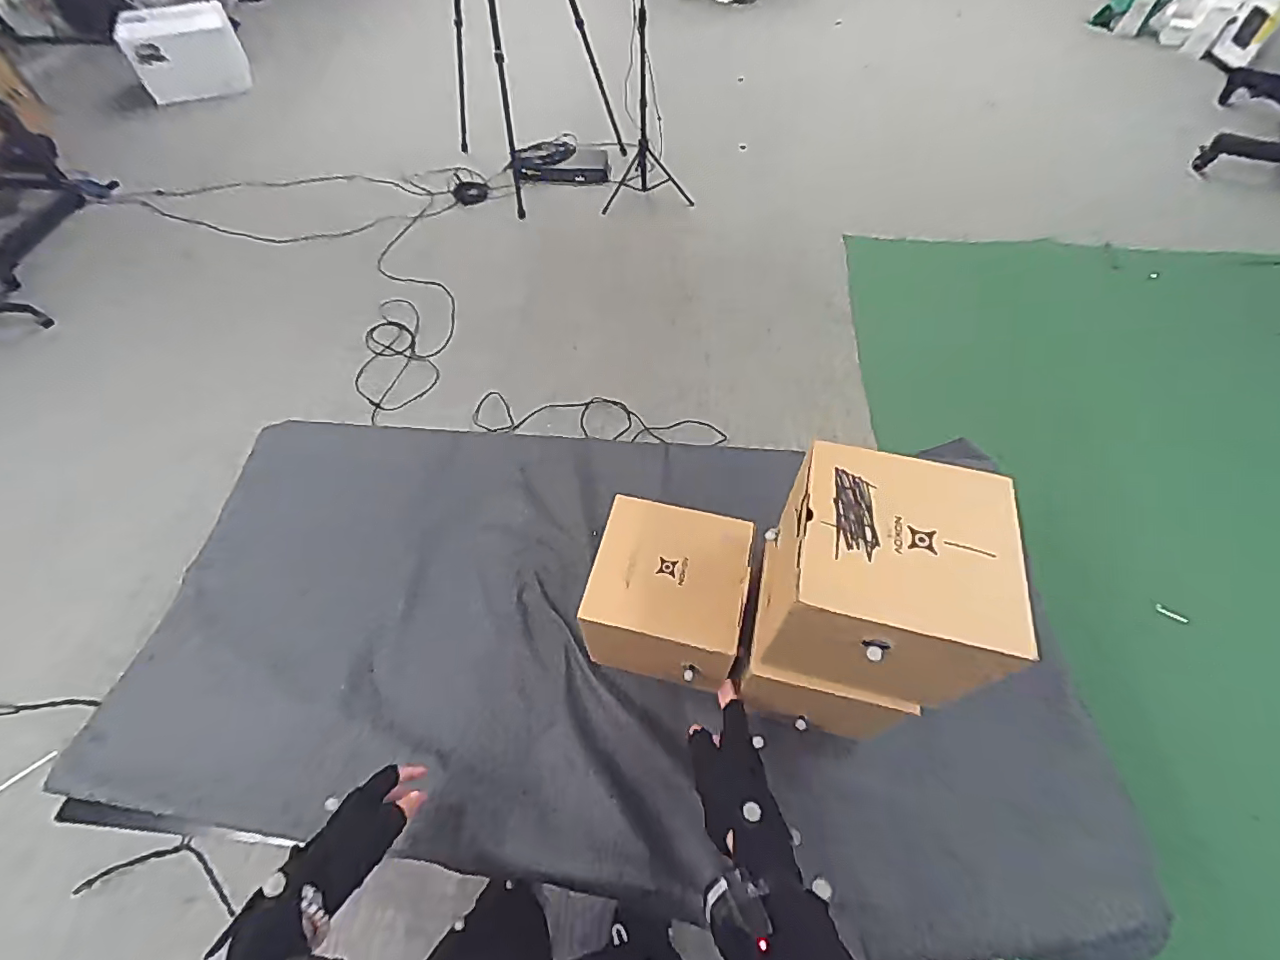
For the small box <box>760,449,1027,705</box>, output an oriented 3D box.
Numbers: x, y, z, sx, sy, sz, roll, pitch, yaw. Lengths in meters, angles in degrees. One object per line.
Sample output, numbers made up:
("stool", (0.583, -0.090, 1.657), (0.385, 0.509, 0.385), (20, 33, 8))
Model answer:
("small box", (0.220, 0.098, 0.515), (0.179, 0.176, 0.168), (12, 57, 9))
